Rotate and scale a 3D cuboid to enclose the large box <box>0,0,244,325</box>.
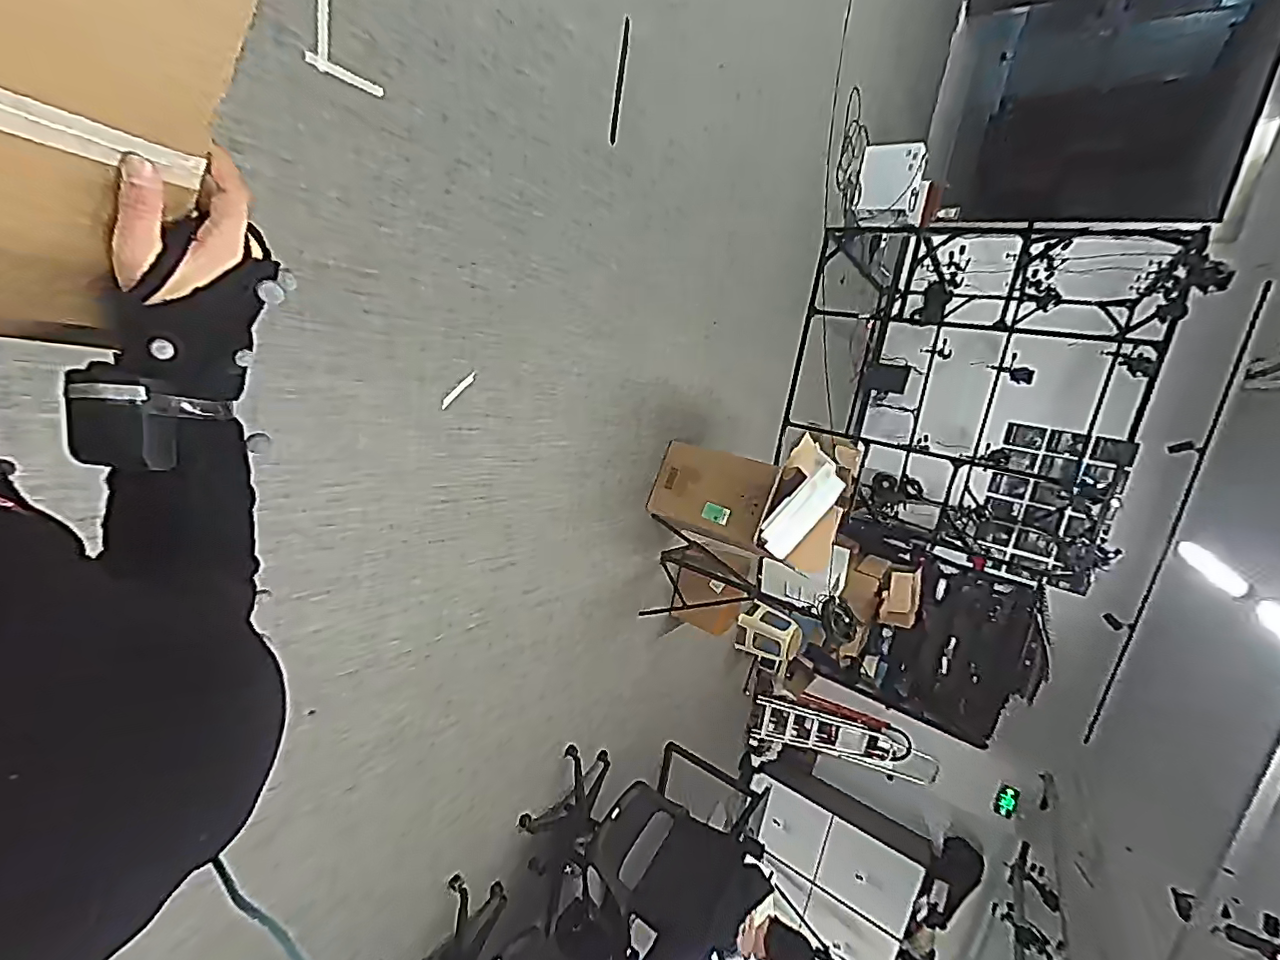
[{"bbox_3d":[-0.449,-0.305,0.196,0.320,0.320,0.408,-38,164,29],"label":"large box"}]
